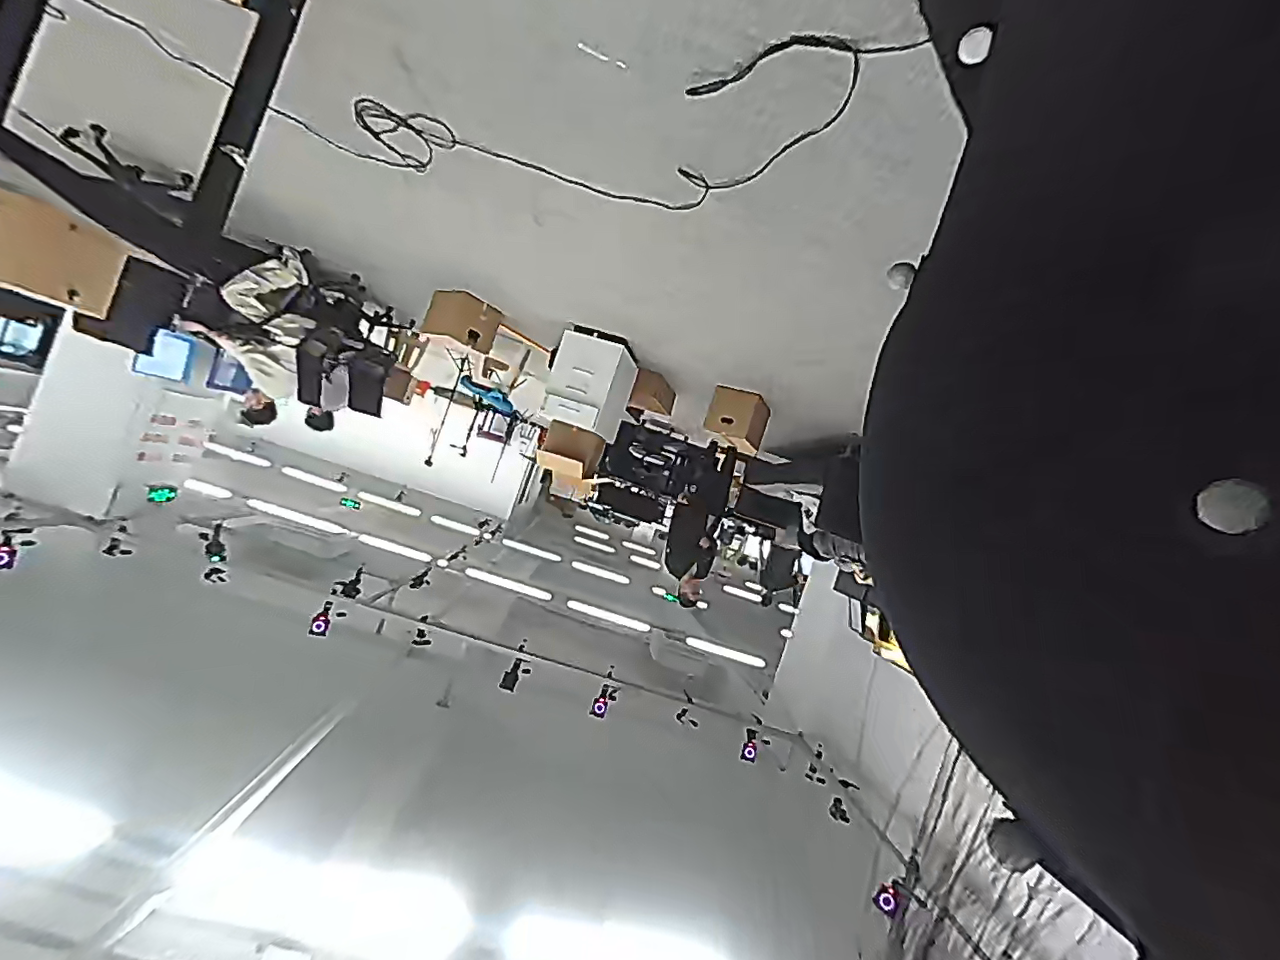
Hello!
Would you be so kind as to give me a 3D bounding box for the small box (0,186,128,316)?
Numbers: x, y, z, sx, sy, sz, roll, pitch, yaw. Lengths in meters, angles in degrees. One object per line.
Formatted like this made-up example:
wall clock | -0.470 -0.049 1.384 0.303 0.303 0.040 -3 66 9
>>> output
small box | -1.164 -0.448 1.051 0.179 0.176 0.168 18 179 6
